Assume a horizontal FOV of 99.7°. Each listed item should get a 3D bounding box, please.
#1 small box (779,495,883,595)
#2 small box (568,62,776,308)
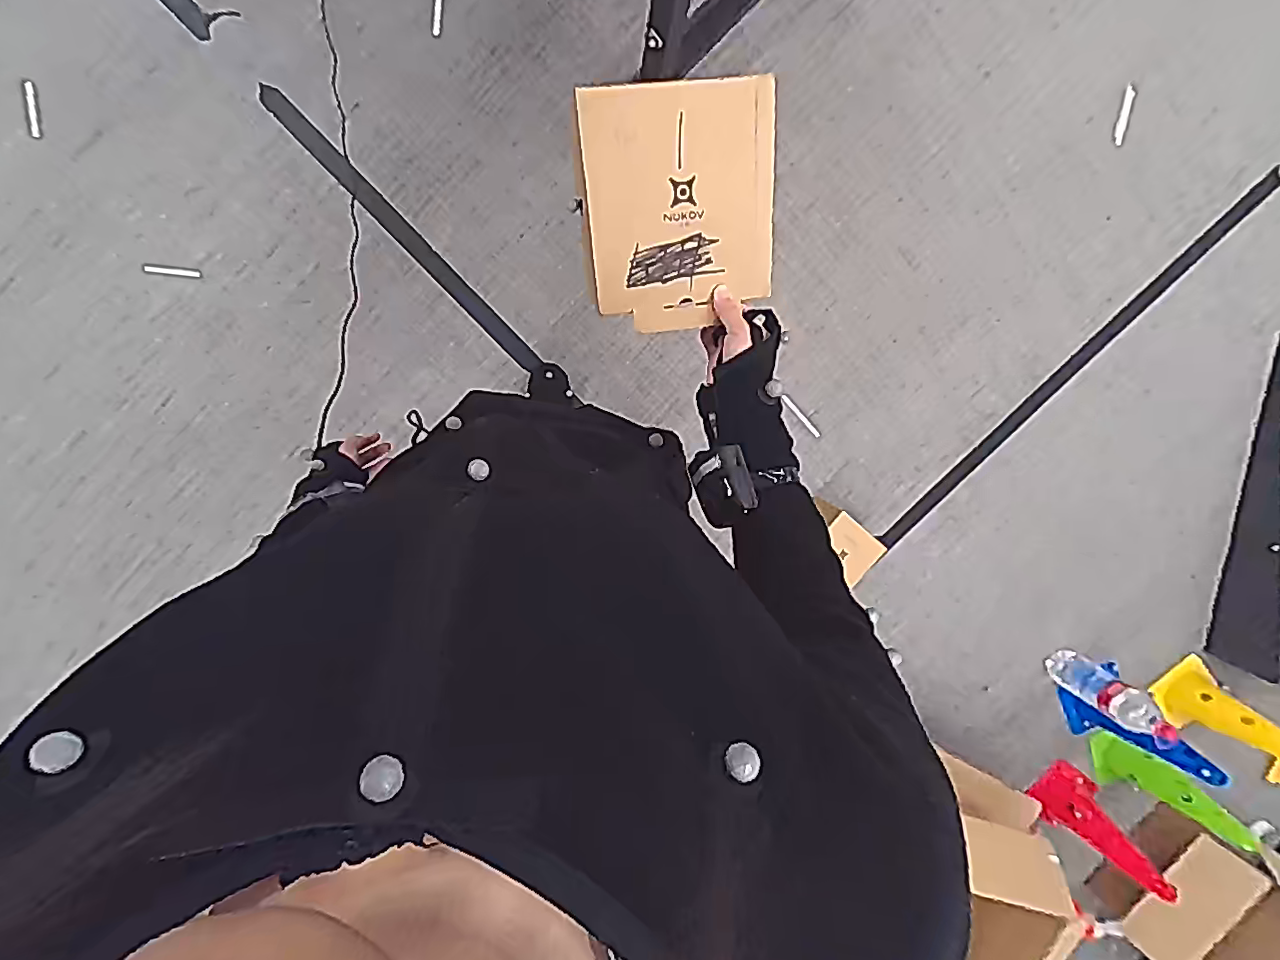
[{"bbox_3d":[0.495,0.167,1.438,0.168,0.176,0.179,39,95,-13],"label":"small box"},{"bbox_3d":[0.023,-0.278,0.530,0.168,0.176,0.179,-9,116,-6],"label":"small box"}]
